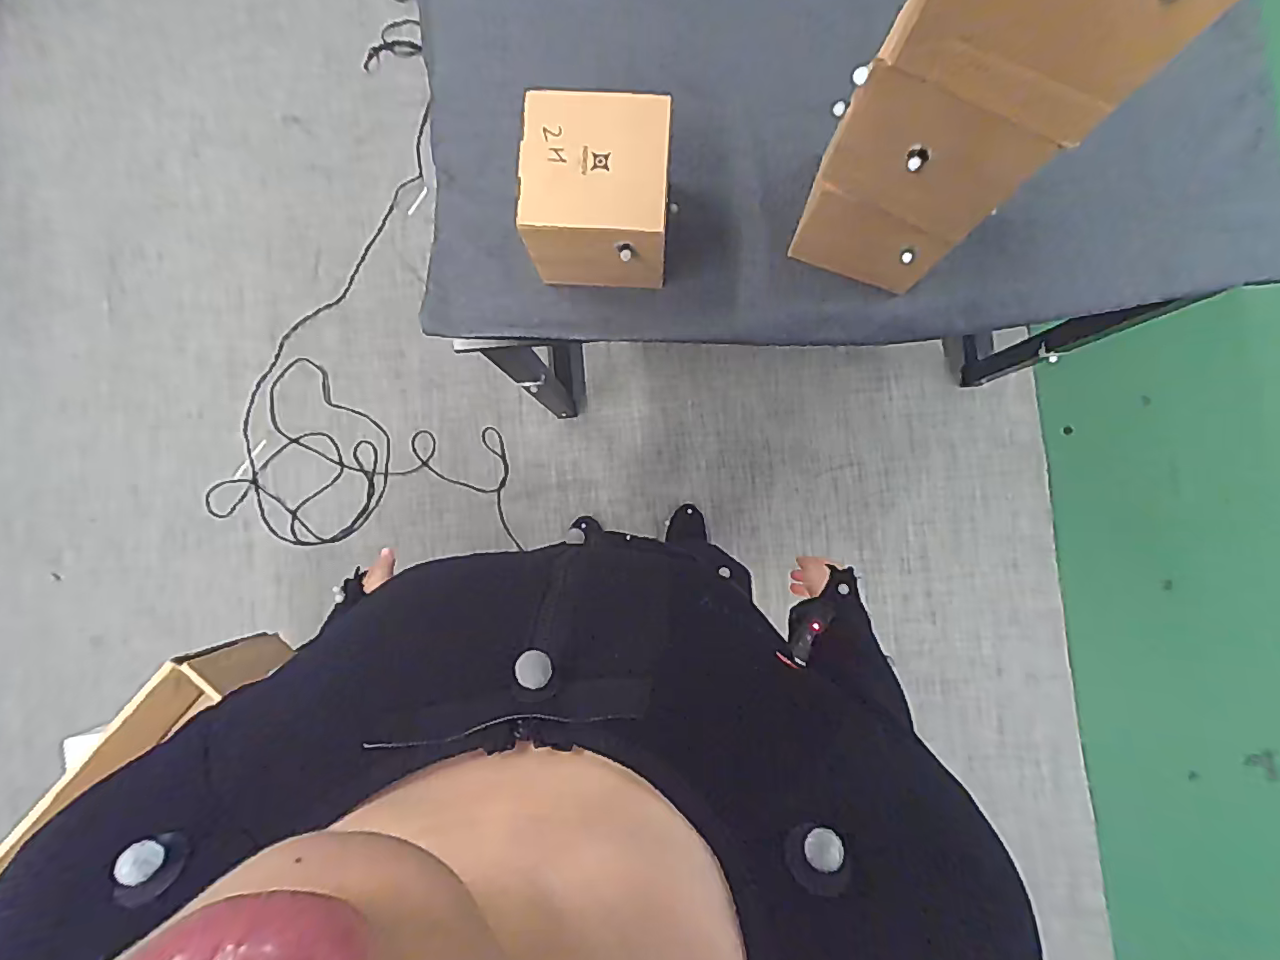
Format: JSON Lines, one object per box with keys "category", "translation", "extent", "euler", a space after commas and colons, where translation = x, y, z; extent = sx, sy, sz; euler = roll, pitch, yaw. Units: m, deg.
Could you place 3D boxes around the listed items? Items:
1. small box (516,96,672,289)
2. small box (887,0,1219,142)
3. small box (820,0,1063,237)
{"category": "small box", "translation": [-0.052, -0.364, 0.714], "extent": [0.179, 0.176, 0.168], "euler": [3, 88, 2]}
{"category": "small box", "translation": [0.309, -0.384, 0.375], "extent": [0.179, 0.176, 0.168], "euler": [28, 87, 3]}
{"category": "small box", "translation": [0.311, -0.376, 0.538], "extent": [0.179, 0.176, 0.168], "euler": [28, 87, 4]}
